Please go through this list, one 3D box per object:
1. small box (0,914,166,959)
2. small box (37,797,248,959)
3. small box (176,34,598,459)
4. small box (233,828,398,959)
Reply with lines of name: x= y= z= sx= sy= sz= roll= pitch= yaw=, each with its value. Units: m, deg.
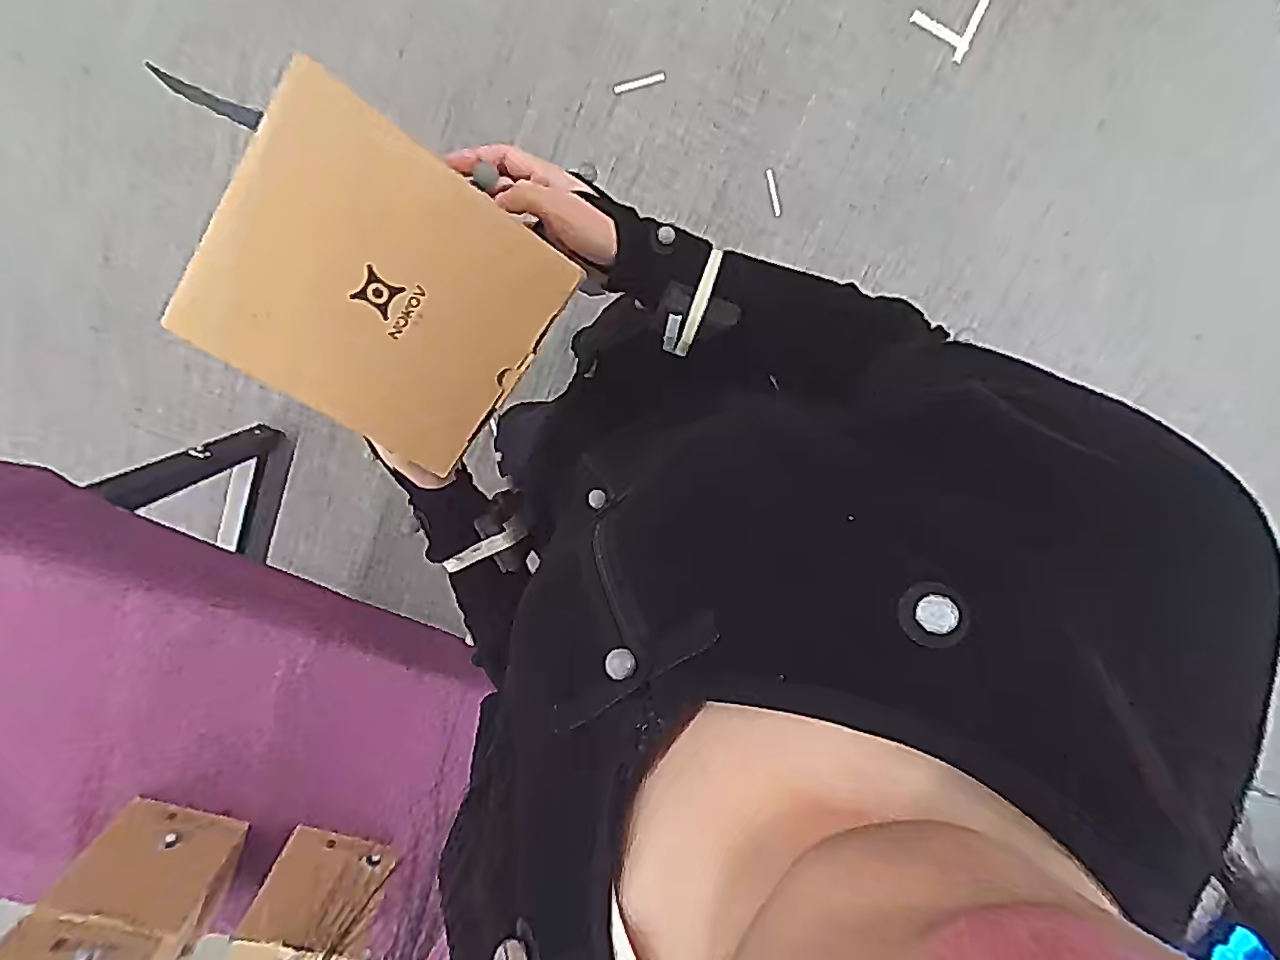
small box: x=-0.699 y=0.655 z=0.621 sx=0.168 sy=0.176 sz=0.179 roll=20 pitch=103 yaw=-12
small box: x=-0.708 y=0.605 z=0.776 sx=0.168 sy=0.176 sz=0.179 roll=22 pitch=103 yaw=-13
small box: x=-0.158 y=-0.148 z=0.386 sx=0.179 sy=0.176 sz=0.168 roll=33 pitch=102 yaw=-25
small box: x=-0.490 y=0.673 z=0.818 sx=0.168 sy=0.176 sz=0.179 roll=22 pitch=104 yaw=-11
